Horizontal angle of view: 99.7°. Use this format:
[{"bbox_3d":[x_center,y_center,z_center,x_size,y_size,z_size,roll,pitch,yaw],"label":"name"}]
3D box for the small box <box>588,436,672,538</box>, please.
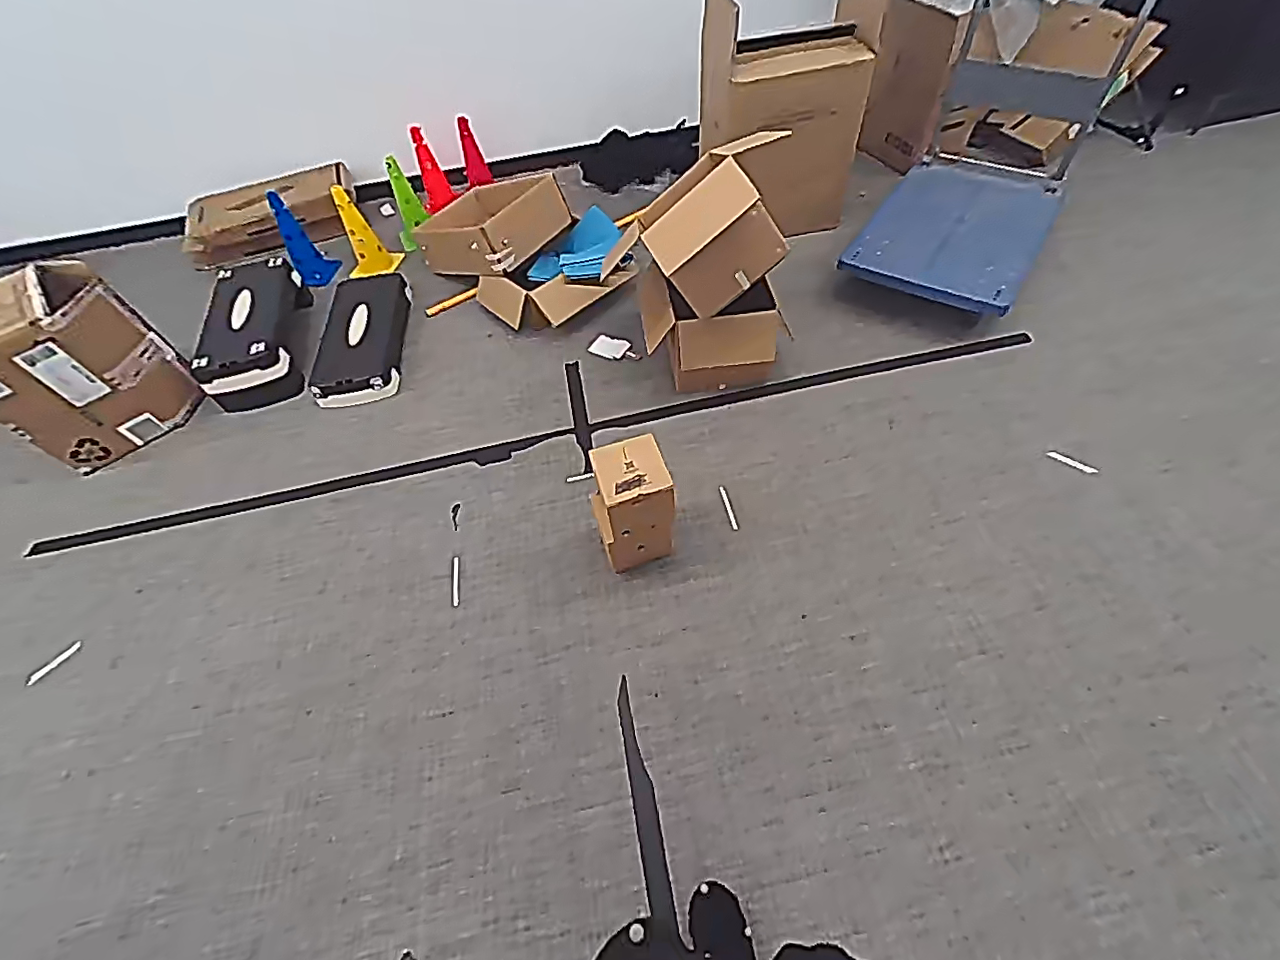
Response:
[{"bbox_3d":[-0.021,0.026,1.347,0.168,0.176,0.179,-16,54,-7],"label":"small box"}]
